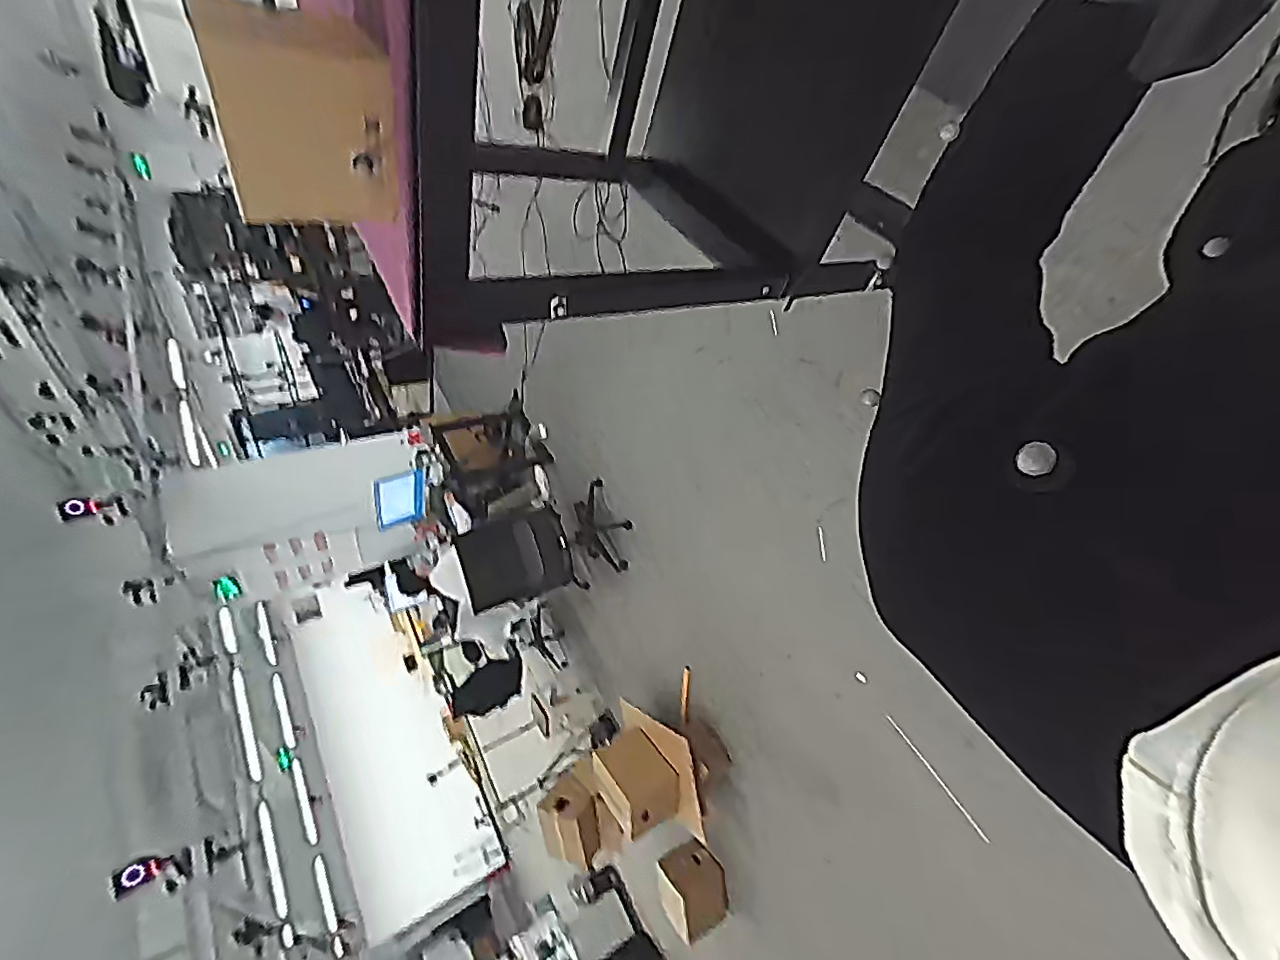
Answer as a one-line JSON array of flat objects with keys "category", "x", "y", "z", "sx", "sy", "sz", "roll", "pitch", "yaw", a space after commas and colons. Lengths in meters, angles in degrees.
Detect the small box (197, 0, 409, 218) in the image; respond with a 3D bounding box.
[{"category": "small box", "x": -0.375, "y": -0.416, "z": 0.621, "sx": 0.179, "sy": 0.176, "sz": 0.168, "roll": 54, "pitch": 144, "yaw": 30}]
